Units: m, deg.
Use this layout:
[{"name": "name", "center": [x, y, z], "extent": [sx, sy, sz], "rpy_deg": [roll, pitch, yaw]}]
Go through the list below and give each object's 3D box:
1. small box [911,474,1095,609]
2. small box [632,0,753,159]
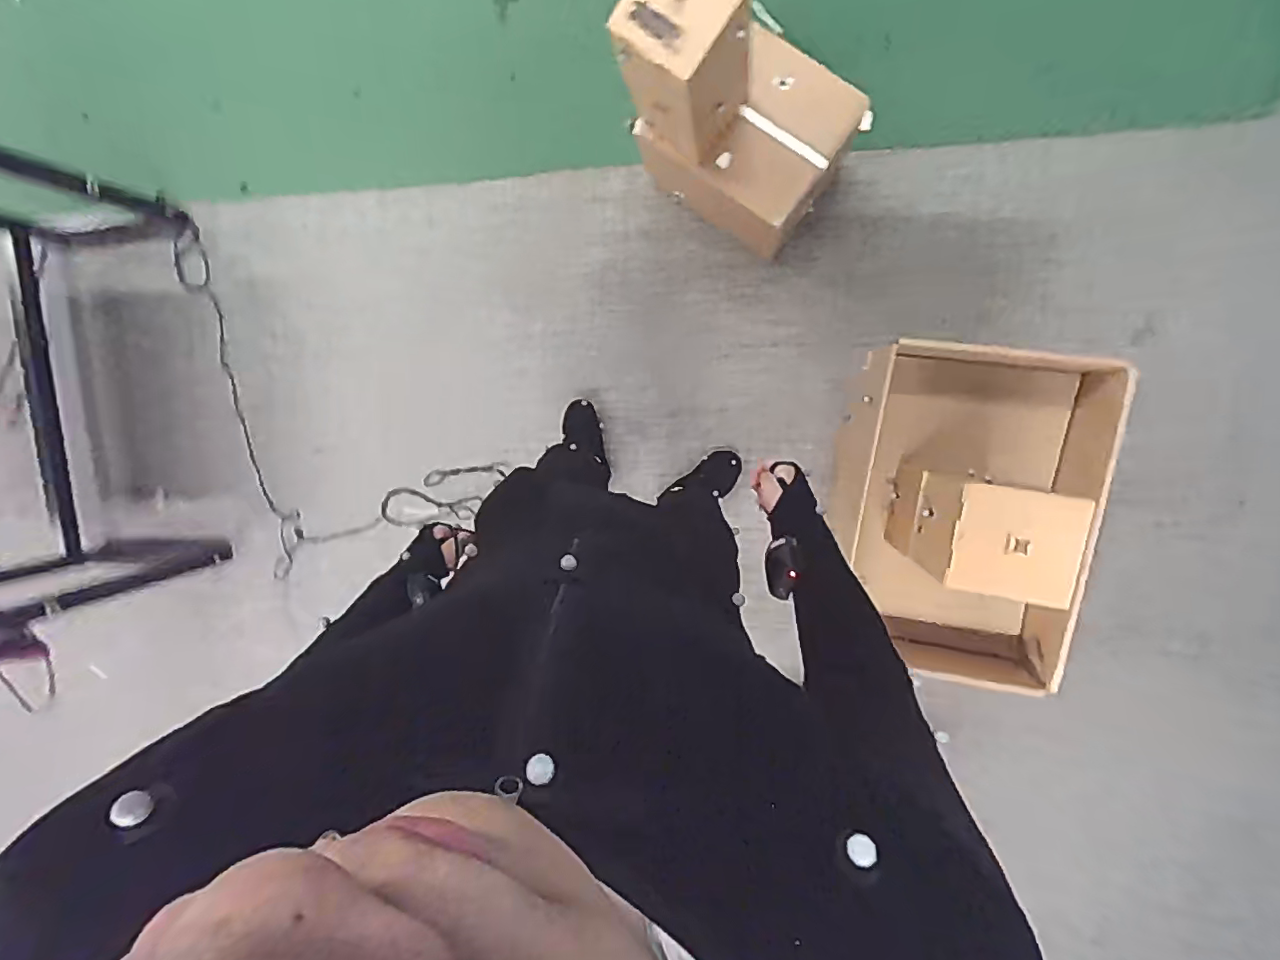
[{"name": "small box", "center": [0.569, 0.088, 0.874], "extent": [0.179, 0.176, 0.168], "rpy_deg": [9, 98, 9]}, {"name": "small box", "center": [0.110, -0.798, 1.092], "extent": [0.168, 0.176, 0.179], "rpy_deg": [40, 102, 1]}]
